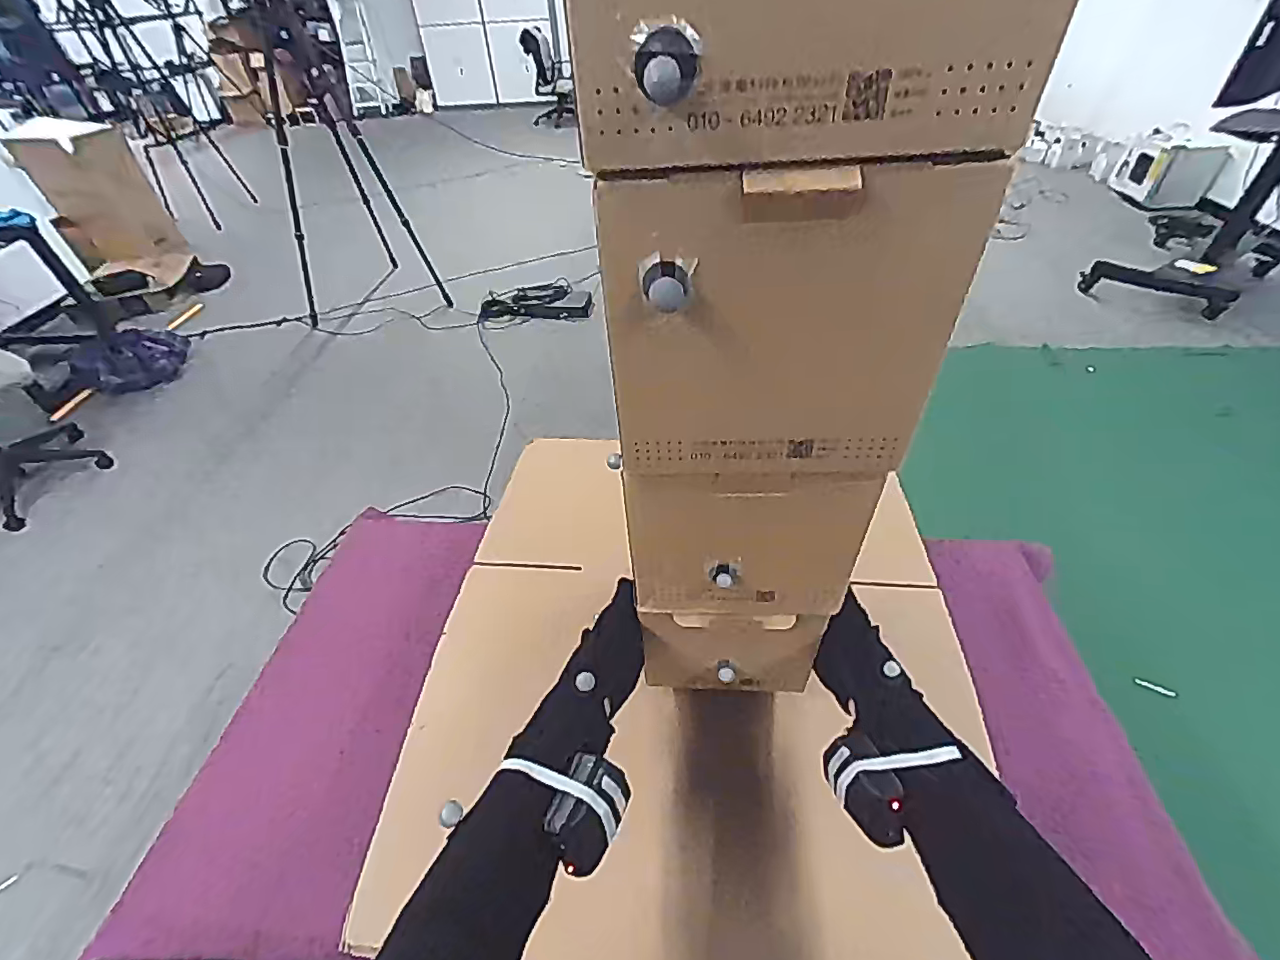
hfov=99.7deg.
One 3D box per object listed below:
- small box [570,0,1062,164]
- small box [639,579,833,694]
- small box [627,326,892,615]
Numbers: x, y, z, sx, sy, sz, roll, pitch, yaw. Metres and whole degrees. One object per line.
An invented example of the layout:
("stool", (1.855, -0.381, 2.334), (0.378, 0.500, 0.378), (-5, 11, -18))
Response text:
("small box", (0.059, -0.234, 0.209), (0.168, 0.176, 0.179), (0, 44, 4))
("small box", (0.092, 0.100, 0.568), (0.168, 0.176, 0.179), (0, 45, 6))
("small box", (0.081, -0.009, 0.448), (0.168, 0.176, 0.179), (-1, 46, 4))
